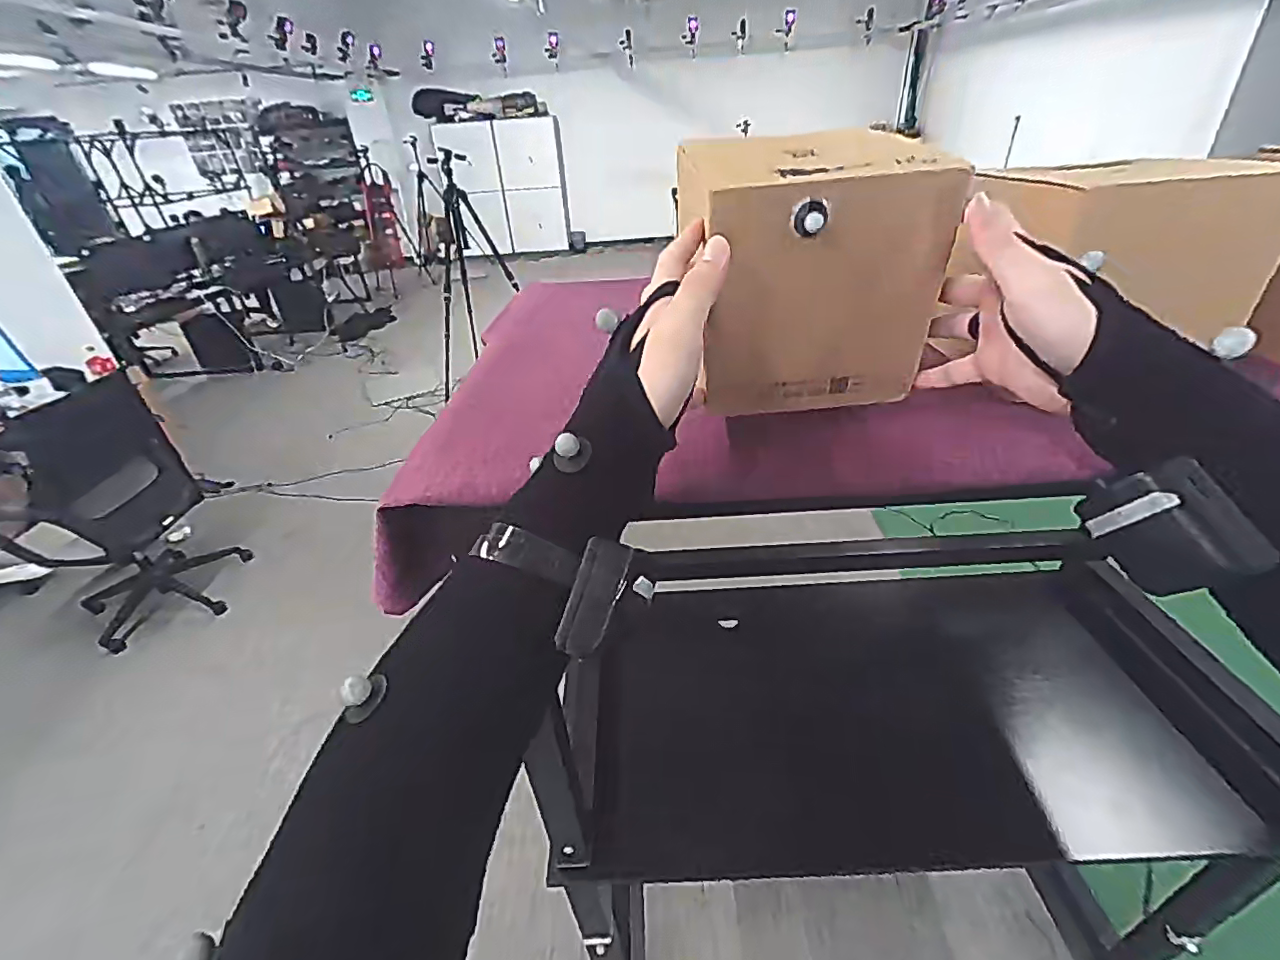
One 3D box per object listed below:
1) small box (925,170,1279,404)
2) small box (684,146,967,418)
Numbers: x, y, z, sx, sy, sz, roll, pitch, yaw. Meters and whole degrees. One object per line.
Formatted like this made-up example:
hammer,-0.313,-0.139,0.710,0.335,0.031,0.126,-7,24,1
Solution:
small box,0.393,-0.182,0.500,0.168,0.176,0.179,-3,33,2
small box,0.127,-0.170,0.458,0.168,0.176,0.179,-5,39,-1
